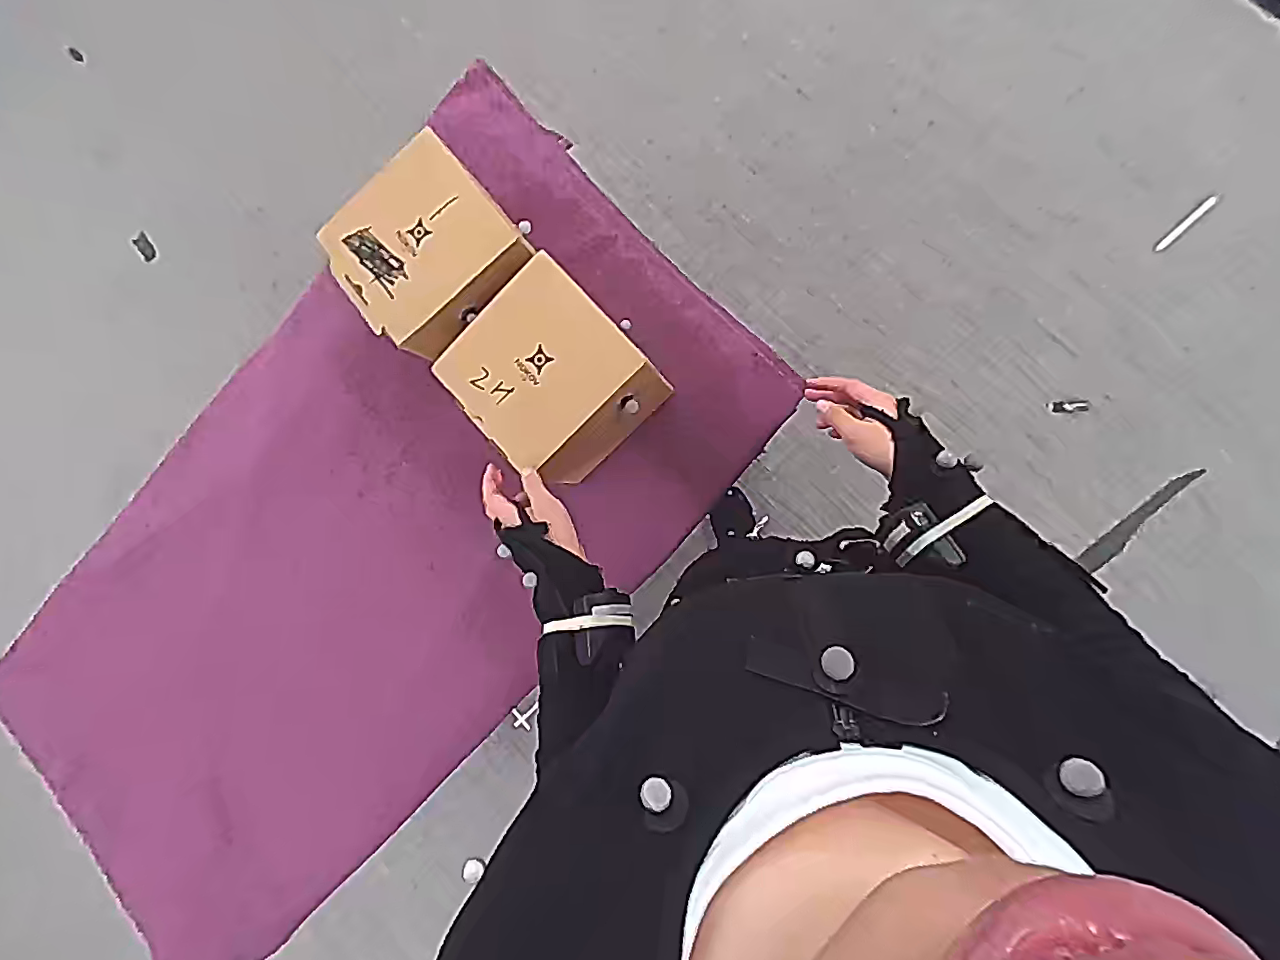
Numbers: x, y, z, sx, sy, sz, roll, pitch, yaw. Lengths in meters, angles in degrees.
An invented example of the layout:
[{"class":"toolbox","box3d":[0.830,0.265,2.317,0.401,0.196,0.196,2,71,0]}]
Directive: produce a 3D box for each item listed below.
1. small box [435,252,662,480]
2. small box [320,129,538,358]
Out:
[{"class":"small box","box3d":[-0.090,-0.117,0.630,0.179,0.176,0.168,-43,80,9]},{"class":"small box","box3d":[-0.228,-0.259,0.657,0.179,0.176,0.168,-39,84,7]}]
